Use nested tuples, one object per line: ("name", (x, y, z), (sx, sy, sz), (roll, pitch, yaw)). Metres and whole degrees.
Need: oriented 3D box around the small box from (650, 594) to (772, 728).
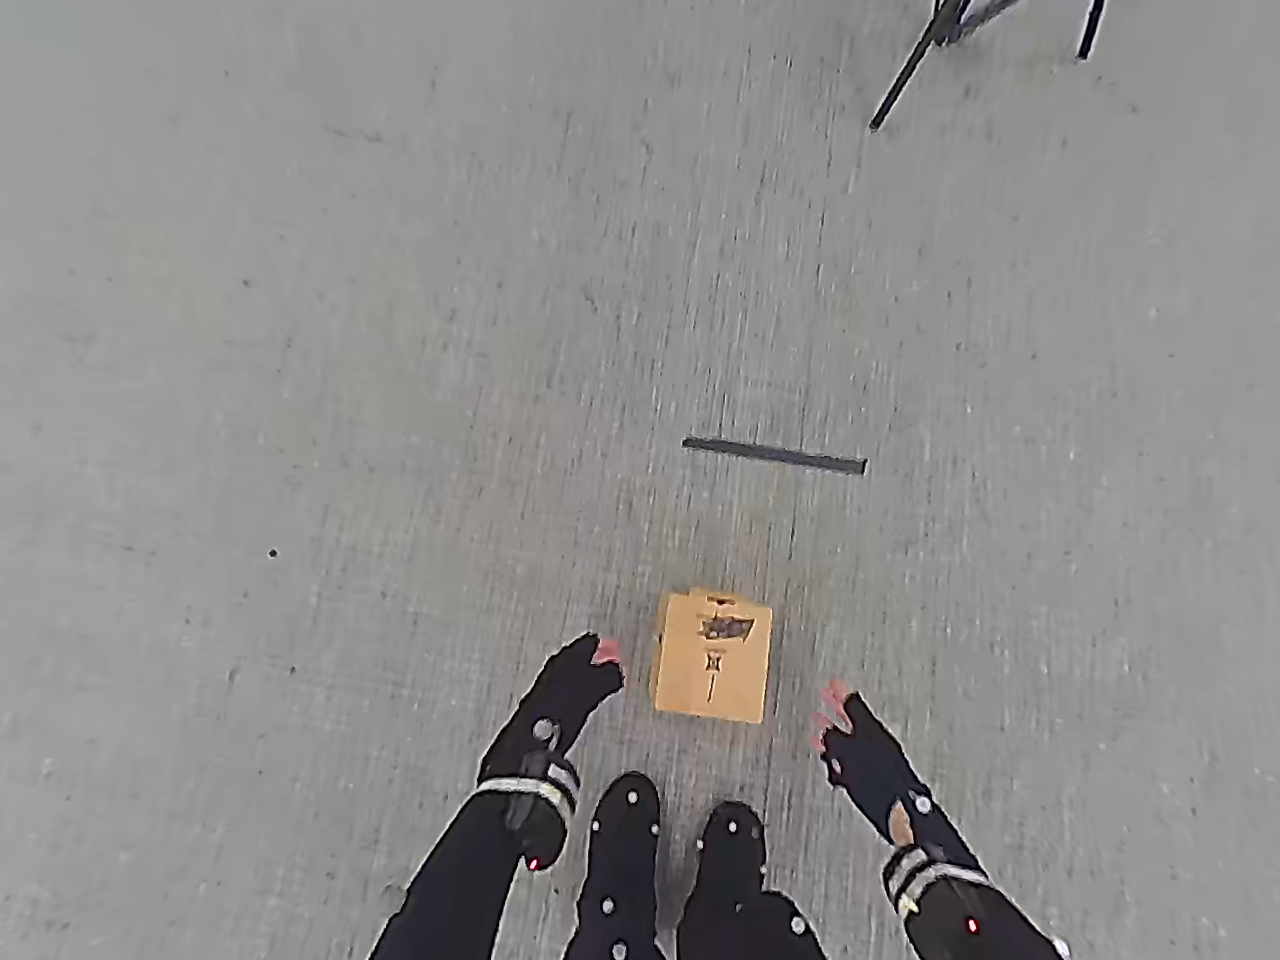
("small box", (0.111, 0.291, 0.903), (0.168, 0.176, 0.179), (9, 78, 0))
